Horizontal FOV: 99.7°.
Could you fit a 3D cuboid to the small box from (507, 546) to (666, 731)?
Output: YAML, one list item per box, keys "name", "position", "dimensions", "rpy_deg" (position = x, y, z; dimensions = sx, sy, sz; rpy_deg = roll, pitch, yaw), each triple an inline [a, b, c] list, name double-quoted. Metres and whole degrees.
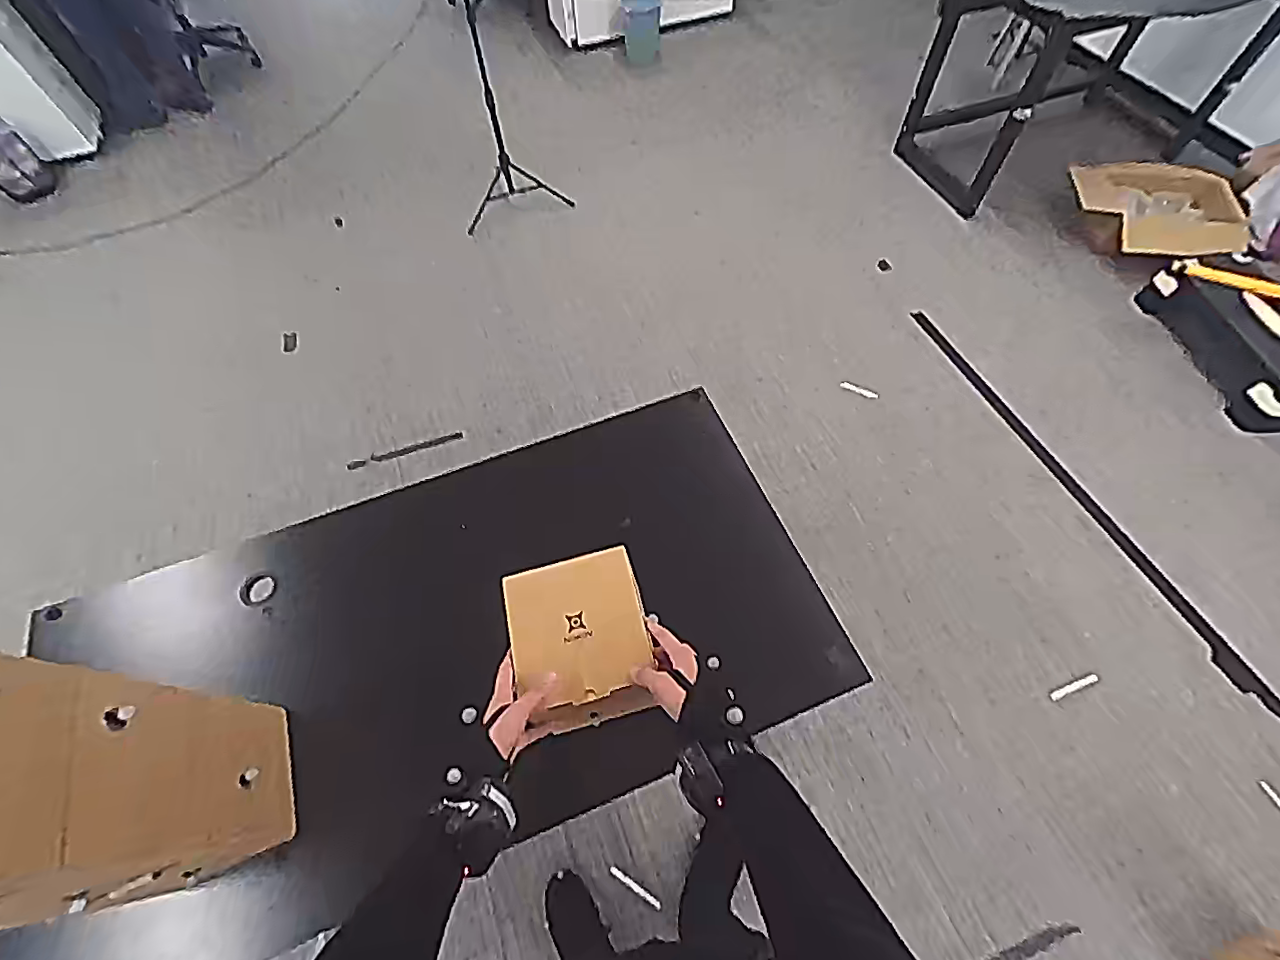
- name: "small box"
  position: [-0.066, 0.215, 0.719]
  dimensions: [0.168, 0.176, 0.179]
  rpy_deg: [-15, 60, -3]

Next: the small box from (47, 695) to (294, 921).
- name: "small box"
  position: [-0.565, 0.394, 0.676]
  dimensions: [0.168, 0.176, 0.179]
  rpy_deg: [-21, 63, -10]

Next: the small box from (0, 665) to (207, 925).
- name: "small box"
  position: [-0.570, 0.312, 0.533]
  dimensions: [0.168, 0.176, 0.179]
  rpy_deg: [-21, 62, -9]
